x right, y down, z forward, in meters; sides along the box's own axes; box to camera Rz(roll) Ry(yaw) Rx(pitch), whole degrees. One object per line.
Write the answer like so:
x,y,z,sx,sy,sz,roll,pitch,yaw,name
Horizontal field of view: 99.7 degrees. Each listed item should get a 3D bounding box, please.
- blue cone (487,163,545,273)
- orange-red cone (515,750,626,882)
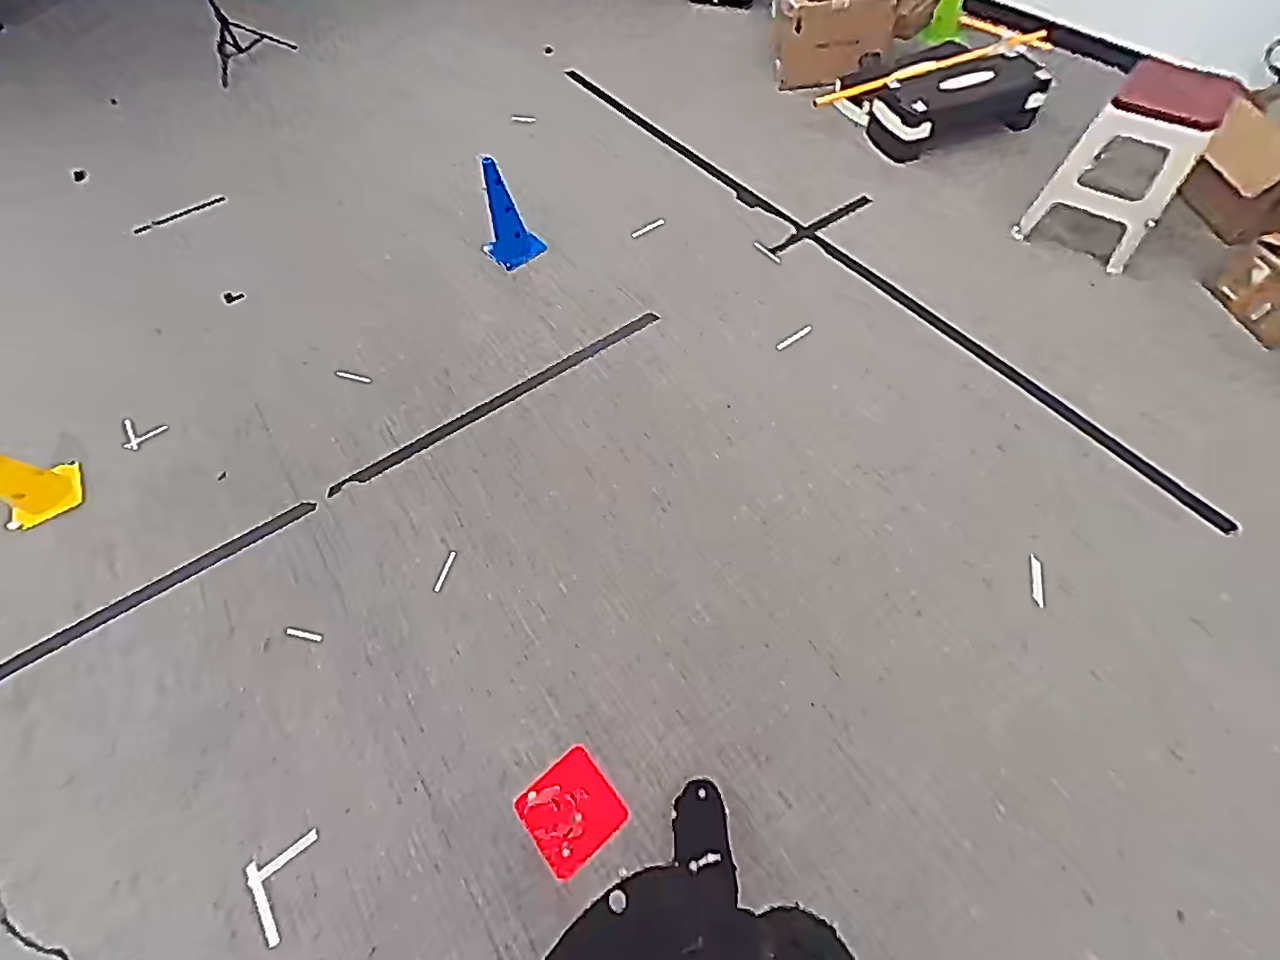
-0.511,-1.003,2.038,0.193,0.380,0.192,-37,64,-16,blue cone
-0.163,0.656,1.058,0.199,0.360,0.198,-36,64,-17,orange-red cone
